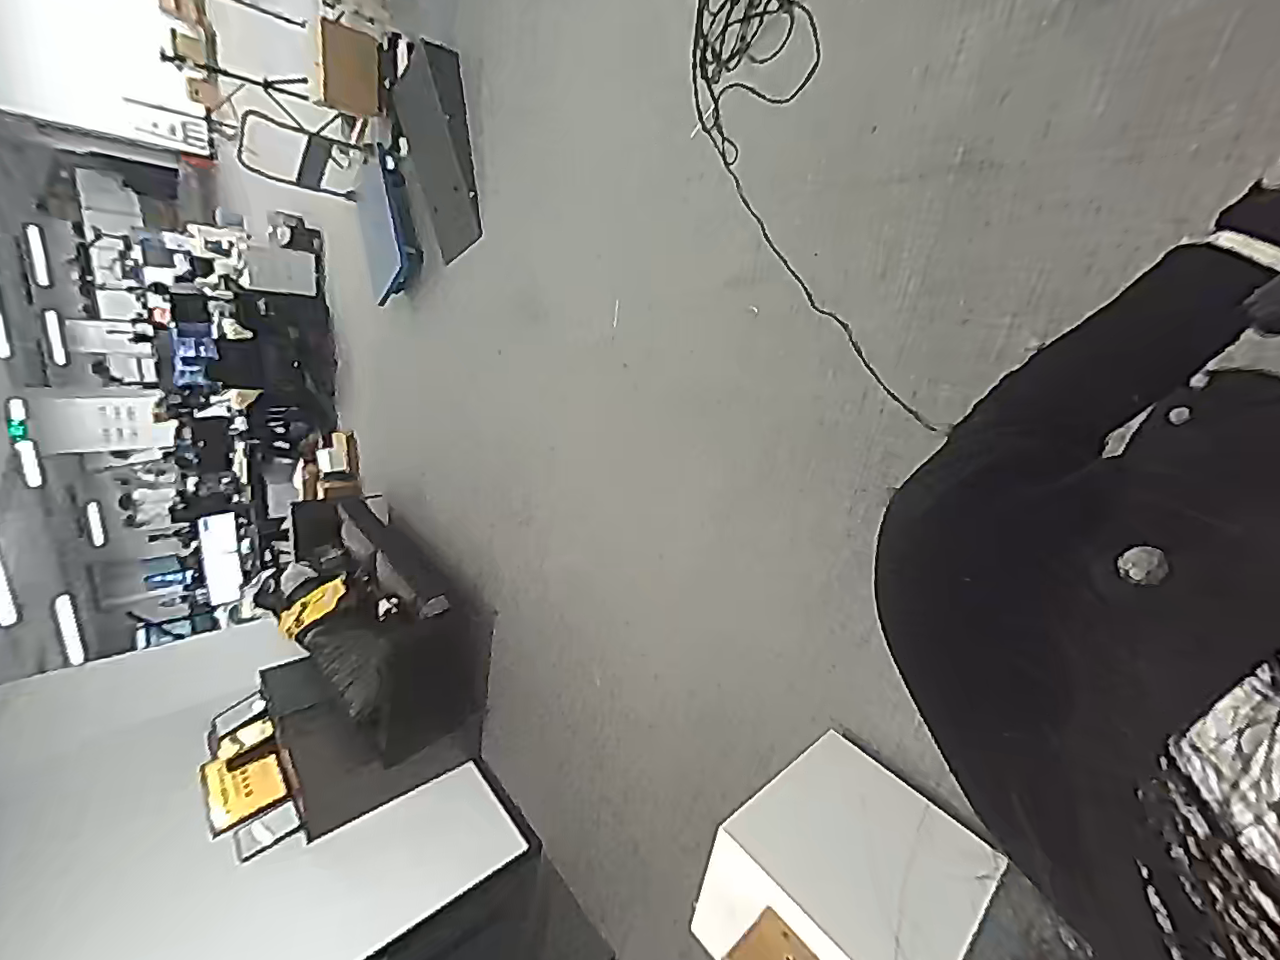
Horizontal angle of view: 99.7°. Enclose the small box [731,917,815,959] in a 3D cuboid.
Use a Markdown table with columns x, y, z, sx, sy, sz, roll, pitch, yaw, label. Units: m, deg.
| x | y | z | sx | sy | sz | roll | pitch | yaw | label |
| --- | --- | --- | --- | --- | --- | --- | --- | --- | --- |
| 0.281 | 1.098 | 1.144 | 0.168 | 0.176 | 0.179 | 28 | 117 | 42 | small box |
